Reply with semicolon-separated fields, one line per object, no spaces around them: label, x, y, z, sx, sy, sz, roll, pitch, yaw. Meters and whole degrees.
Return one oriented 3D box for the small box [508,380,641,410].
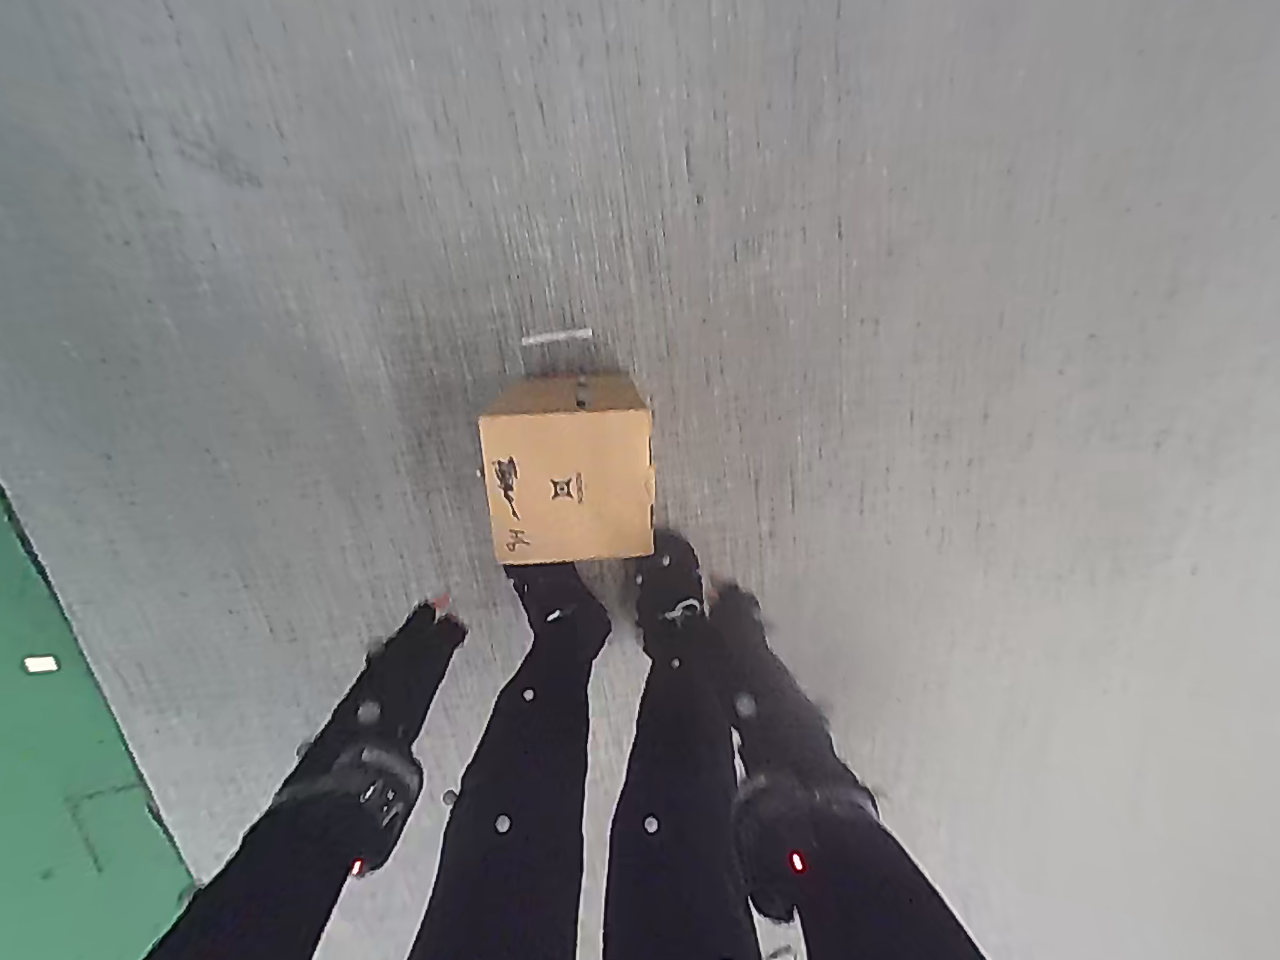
small box;-0.090;-0.058;0.810;0.179;0.176;0.168;-3;107;-2

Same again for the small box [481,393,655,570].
small box;-0.079;-0.008;0.657;0.179;0.176;0.168;-5;109;-2
